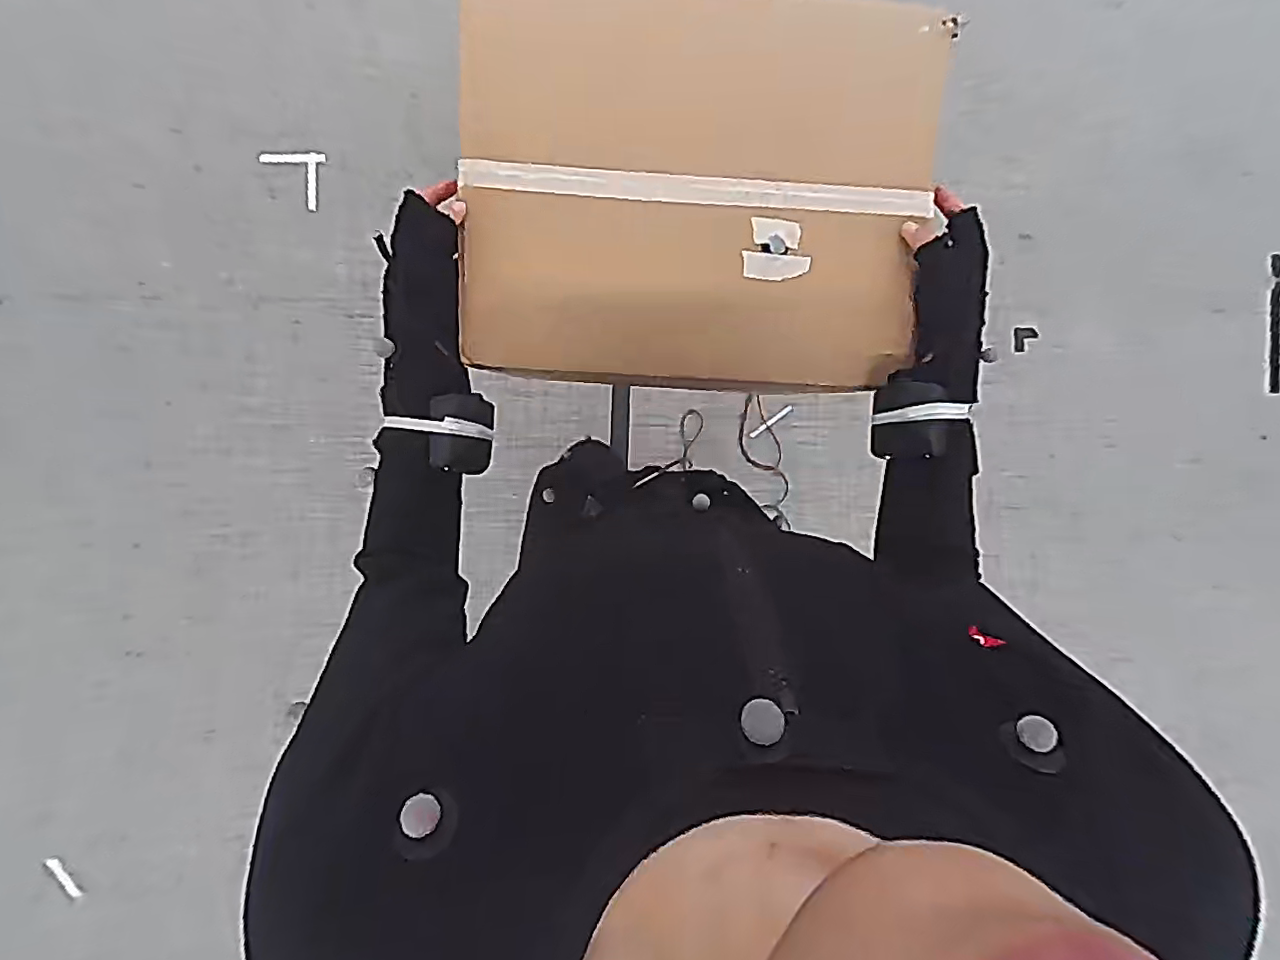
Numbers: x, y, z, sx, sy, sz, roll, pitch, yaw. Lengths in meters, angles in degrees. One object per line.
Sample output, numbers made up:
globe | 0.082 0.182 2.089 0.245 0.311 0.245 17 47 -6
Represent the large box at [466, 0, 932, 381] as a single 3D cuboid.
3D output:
large box | 0.040 -0.281 0.622 0.408 0.320 0.320 3 99 -4
